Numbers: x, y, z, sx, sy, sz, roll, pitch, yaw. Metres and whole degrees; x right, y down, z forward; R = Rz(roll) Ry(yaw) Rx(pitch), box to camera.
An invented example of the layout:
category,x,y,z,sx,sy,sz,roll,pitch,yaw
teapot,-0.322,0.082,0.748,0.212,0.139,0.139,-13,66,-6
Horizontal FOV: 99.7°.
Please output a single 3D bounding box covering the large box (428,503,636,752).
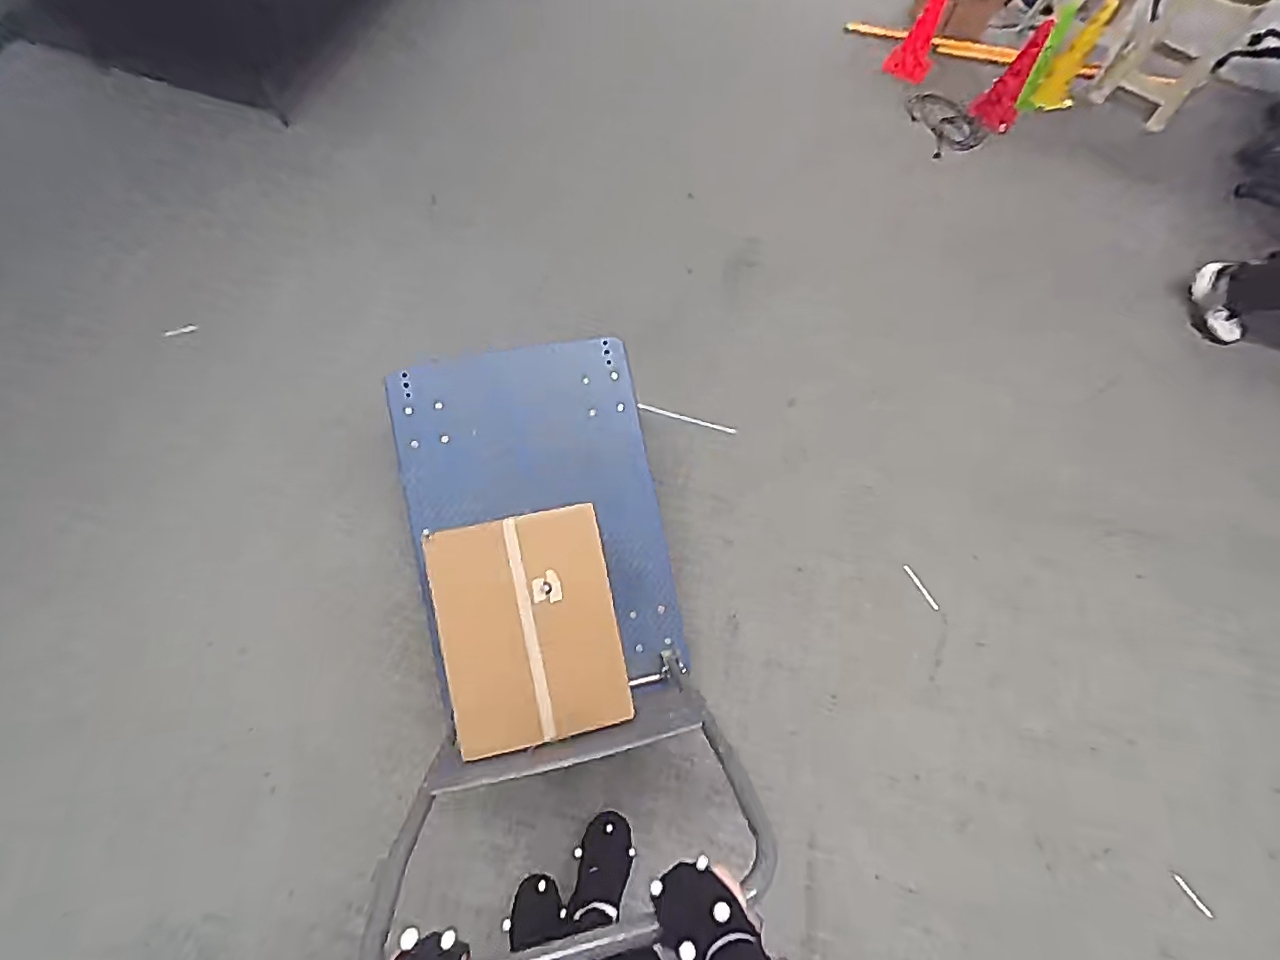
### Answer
category,x,y,z,sx,sy,sz,roll,pitch,yaw
large box,-0.212,0.280,1.142,0.320,0.320,0.408,-12,86,-8
